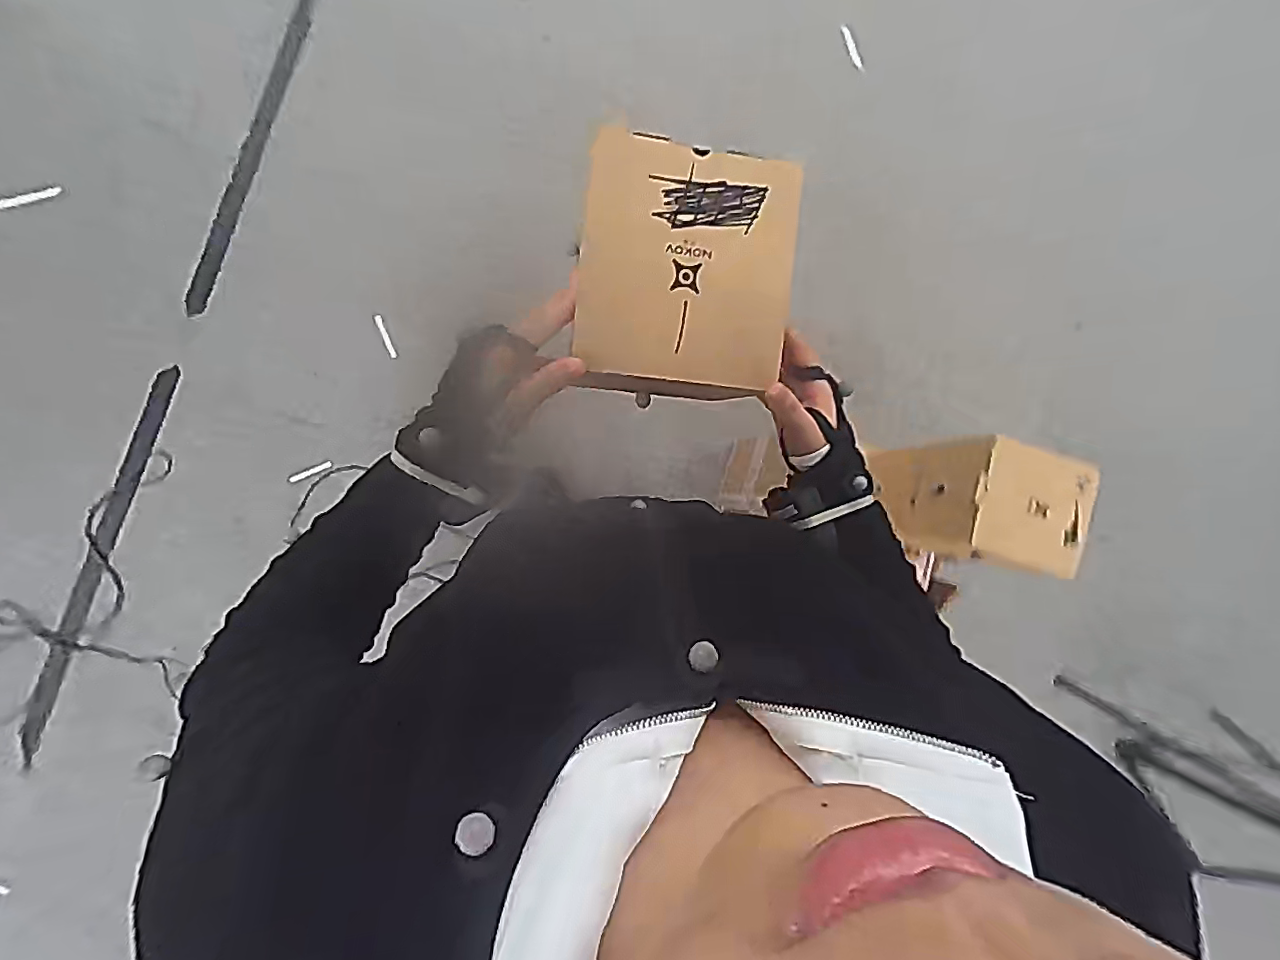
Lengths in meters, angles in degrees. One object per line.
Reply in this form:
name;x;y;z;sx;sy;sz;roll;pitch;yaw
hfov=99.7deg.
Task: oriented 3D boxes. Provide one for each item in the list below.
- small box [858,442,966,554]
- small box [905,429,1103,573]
small box;0.544;0.036;1.009;0.179;0.176;0.168;16;86;-6
small box;0.552;0.034;0.844;0.179;0.176;0.168;18;86;-5
